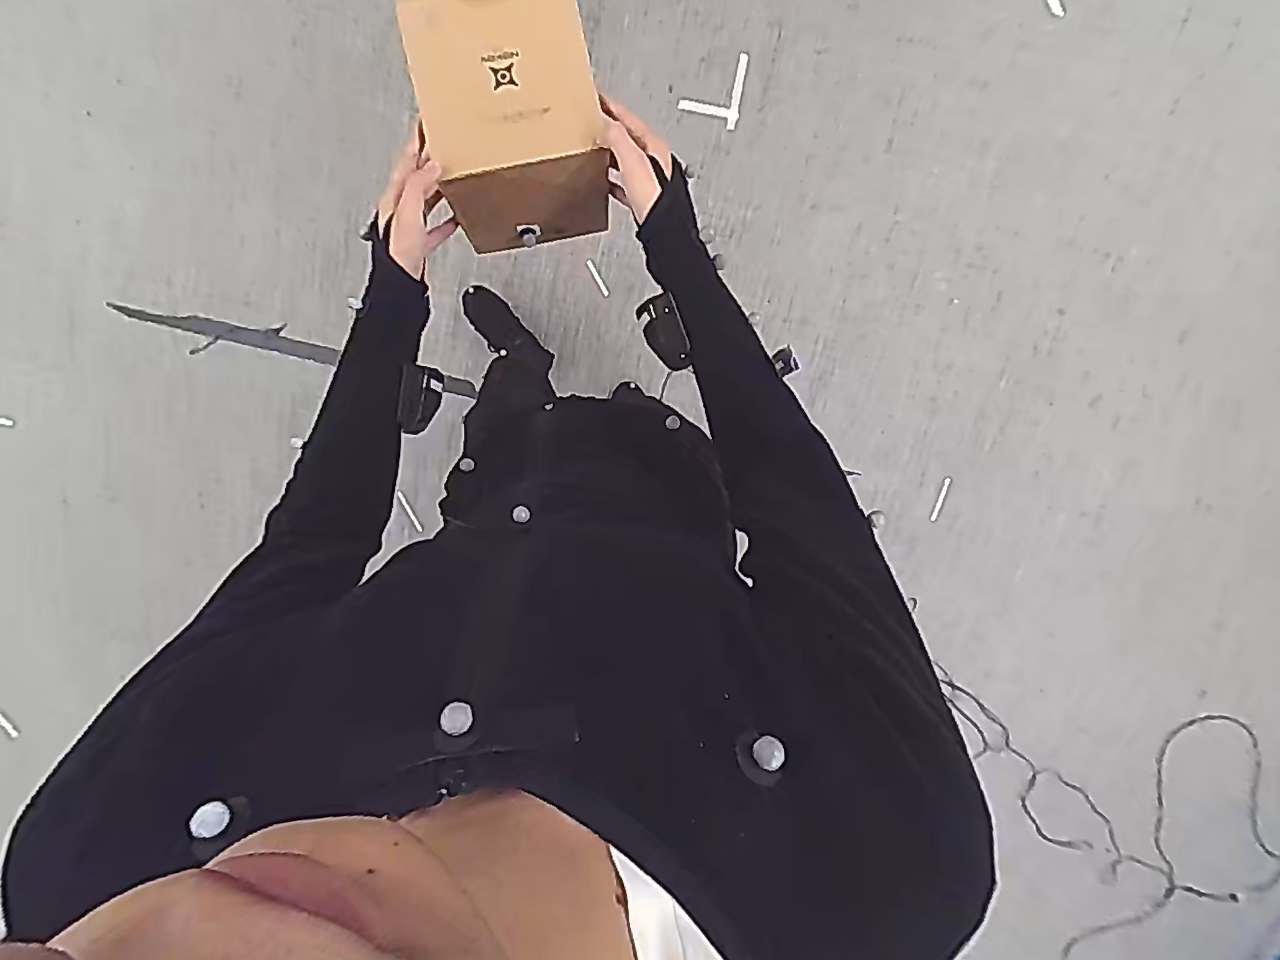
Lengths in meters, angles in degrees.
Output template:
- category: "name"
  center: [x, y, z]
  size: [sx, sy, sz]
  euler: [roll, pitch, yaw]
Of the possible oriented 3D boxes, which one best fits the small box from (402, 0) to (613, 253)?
- category: "small box"
  center: [-0.128, -0.374, 0.576]
  size: [0.168, 0.176, 0.179]
  euler: [-13, 89, -3]
